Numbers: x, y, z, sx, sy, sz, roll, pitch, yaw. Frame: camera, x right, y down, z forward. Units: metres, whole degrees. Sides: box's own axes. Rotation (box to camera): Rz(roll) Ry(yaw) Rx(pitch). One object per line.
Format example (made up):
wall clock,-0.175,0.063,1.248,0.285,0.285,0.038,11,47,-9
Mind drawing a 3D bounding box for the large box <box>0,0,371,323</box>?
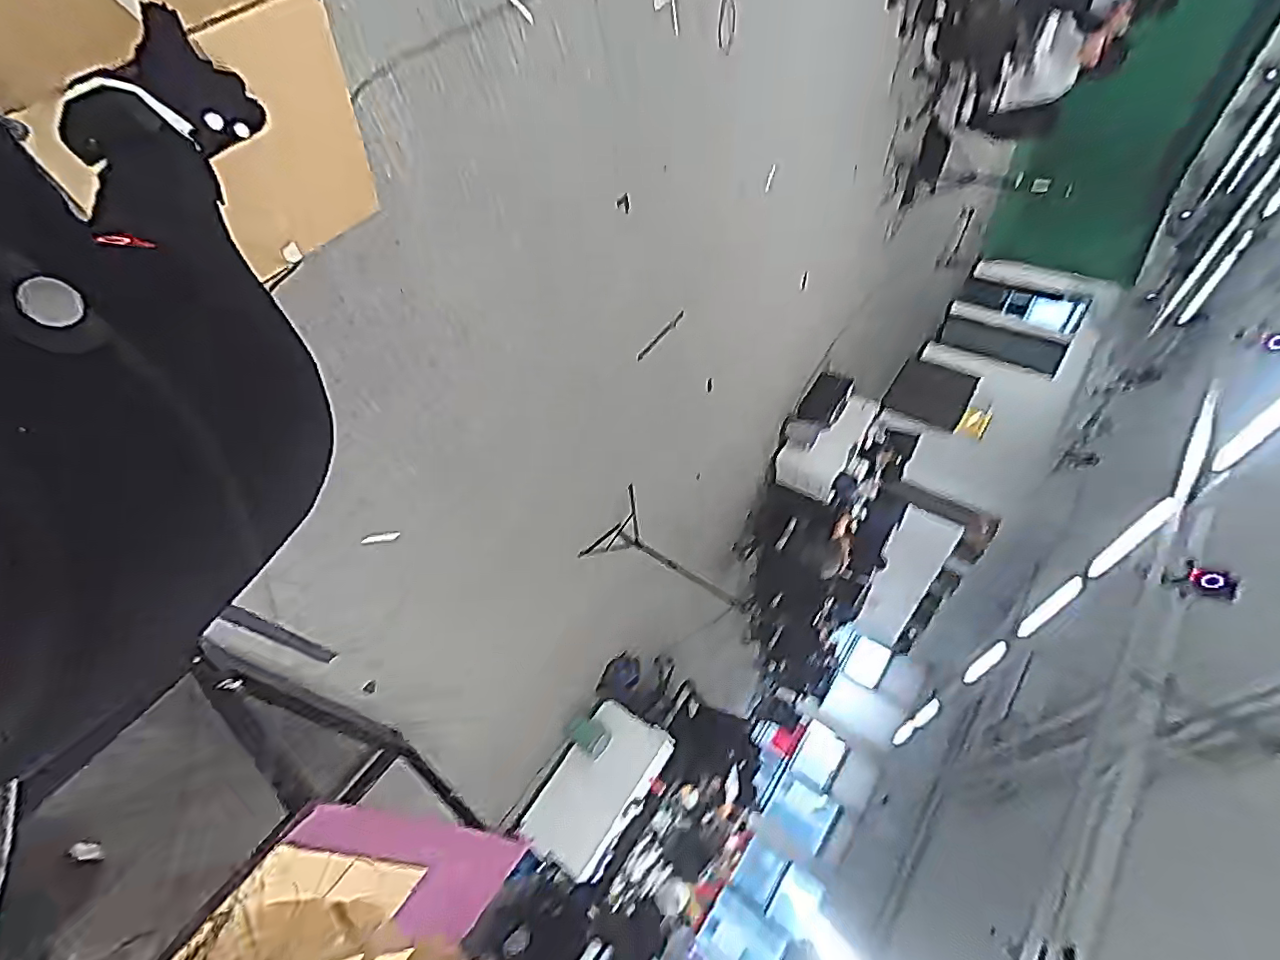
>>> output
large box,-0.612,-0.479,0.643,0.320,0.408,0.320,-48,-179,-22
